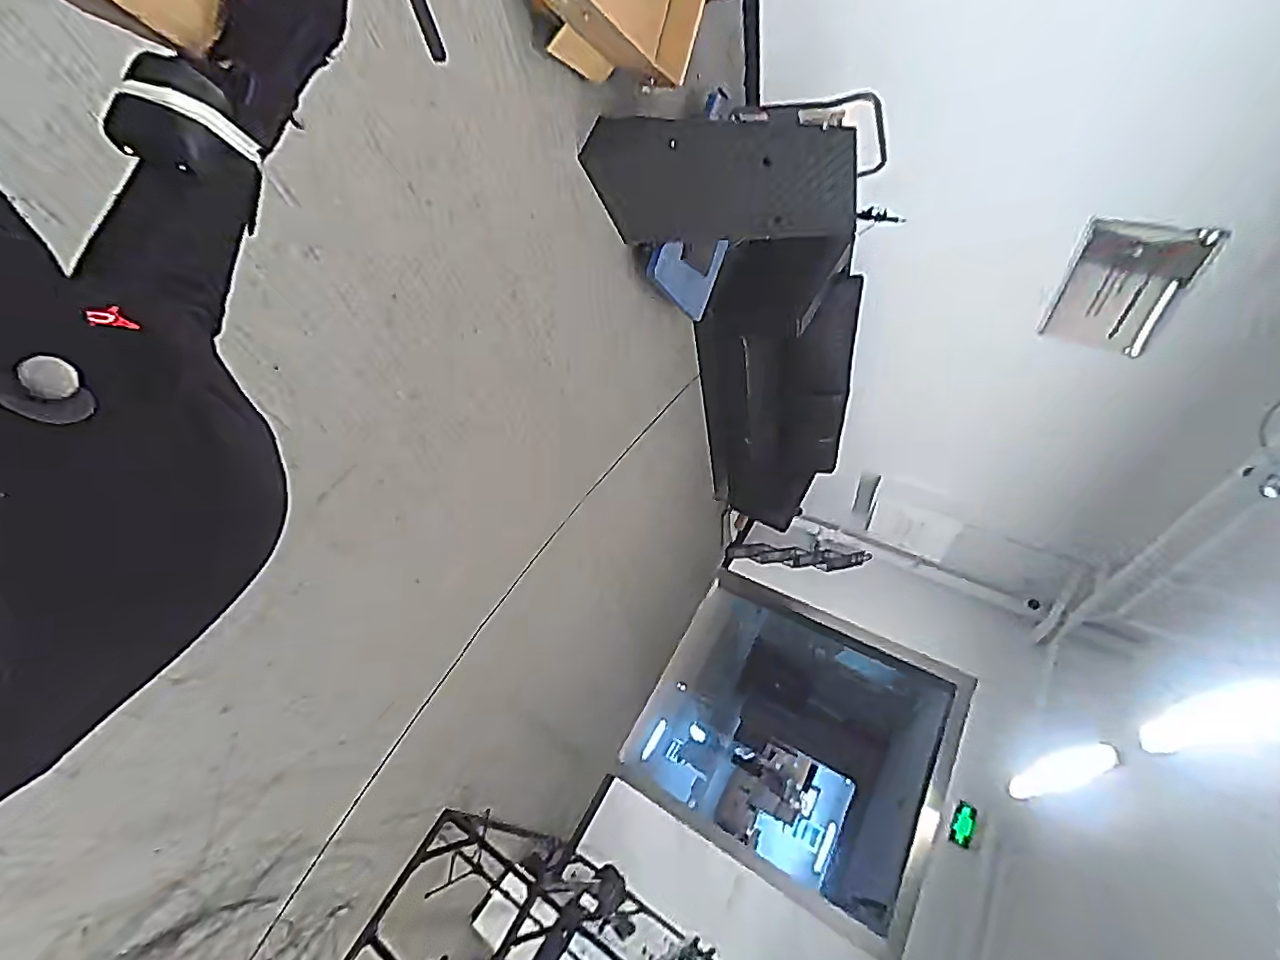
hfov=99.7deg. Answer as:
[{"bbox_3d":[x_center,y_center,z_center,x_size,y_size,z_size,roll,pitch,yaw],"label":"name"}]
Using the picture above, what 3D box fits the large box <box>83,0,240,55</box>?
[{"bbox_3d":[-0.443,-0.545,0.274,0.320,0.320,0.408,-58,155,8],"label":"large box"}]
